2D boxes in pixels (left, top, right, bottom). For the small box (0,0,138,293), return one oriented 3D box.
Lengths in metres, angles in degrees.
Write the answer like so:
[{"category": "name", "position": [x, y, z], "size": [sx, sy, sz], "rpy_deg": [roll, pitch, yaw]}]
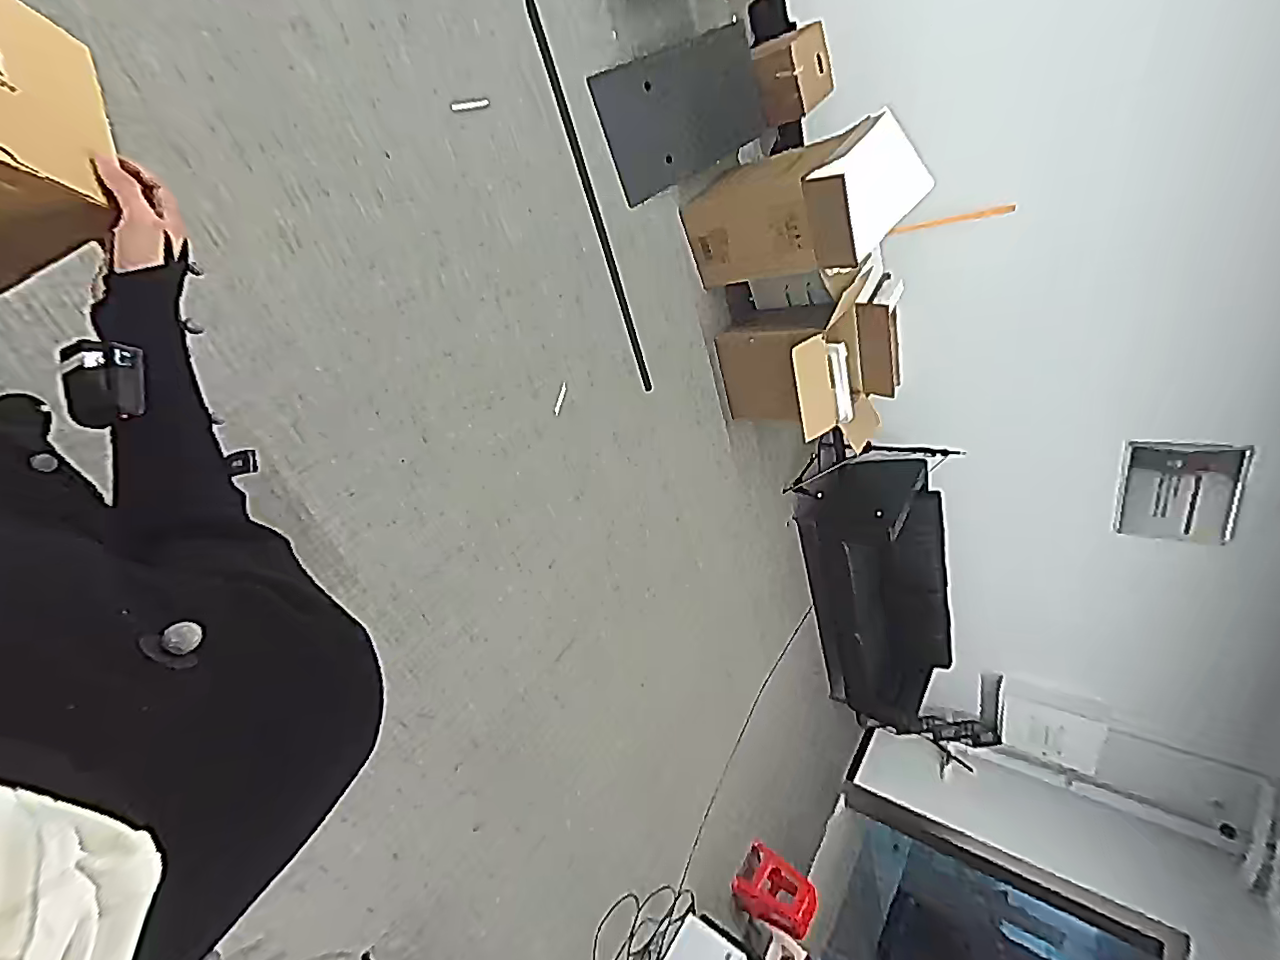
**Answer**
[{"category": "small box", "position": [-0.557, -0.280, 0.418], "size": [0.168, 0.176, 0.179], "rpy_deg": [8, 62, -76]}]
